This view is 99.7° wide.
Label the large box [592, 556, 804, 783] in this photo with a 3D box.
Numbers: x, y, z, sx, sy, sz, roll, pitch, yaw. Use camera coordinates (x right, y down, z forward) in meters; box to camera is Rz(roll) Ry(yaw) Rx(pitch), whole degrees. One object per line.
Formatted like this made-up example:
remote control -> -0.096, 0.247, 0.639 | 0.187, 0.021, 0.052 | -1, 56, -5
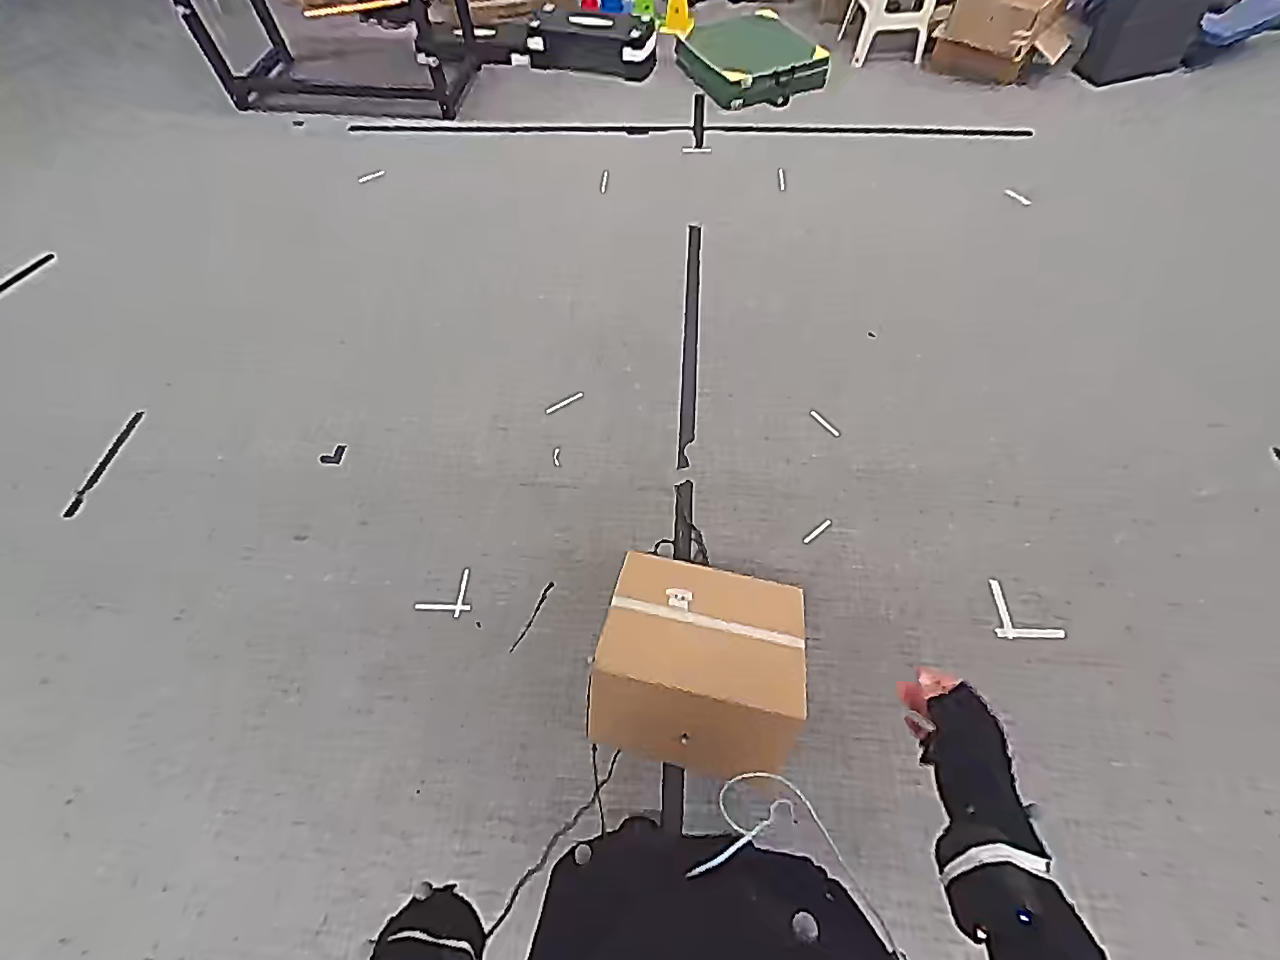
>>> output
large box -> 0.127, 0.419, 1.207 | 0.408, 0.320, 0.320 | 11, 40, 8
